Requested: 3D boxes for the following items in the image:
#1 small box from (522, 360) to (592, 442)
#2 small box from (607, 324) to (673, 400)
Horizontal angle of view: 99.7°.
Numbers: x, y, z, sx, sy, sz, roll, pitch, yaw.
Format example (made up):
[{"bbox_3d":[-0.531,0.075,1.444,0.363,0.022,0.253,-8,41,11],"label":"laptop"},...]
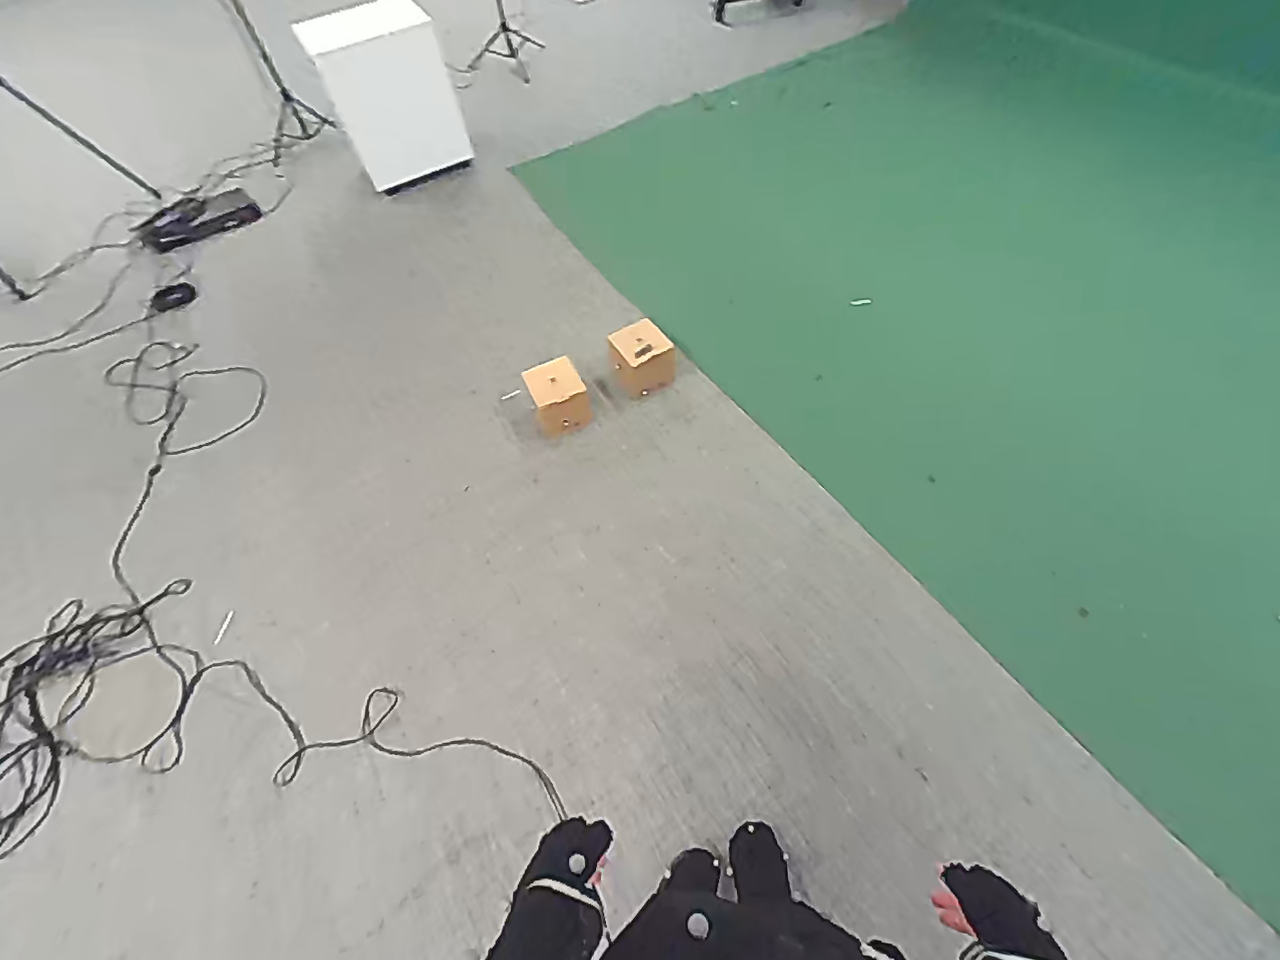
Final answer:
[{"bbox_3d":[-0.274,-0.261,1.806,0.168,0.176,0.179,-24,60,-12],"label":"small box"},{"bbox_3d":[0.004,-0.402,1.877,0.168,0.176,0.179,-29,59,-14],"label":"small box"}]
